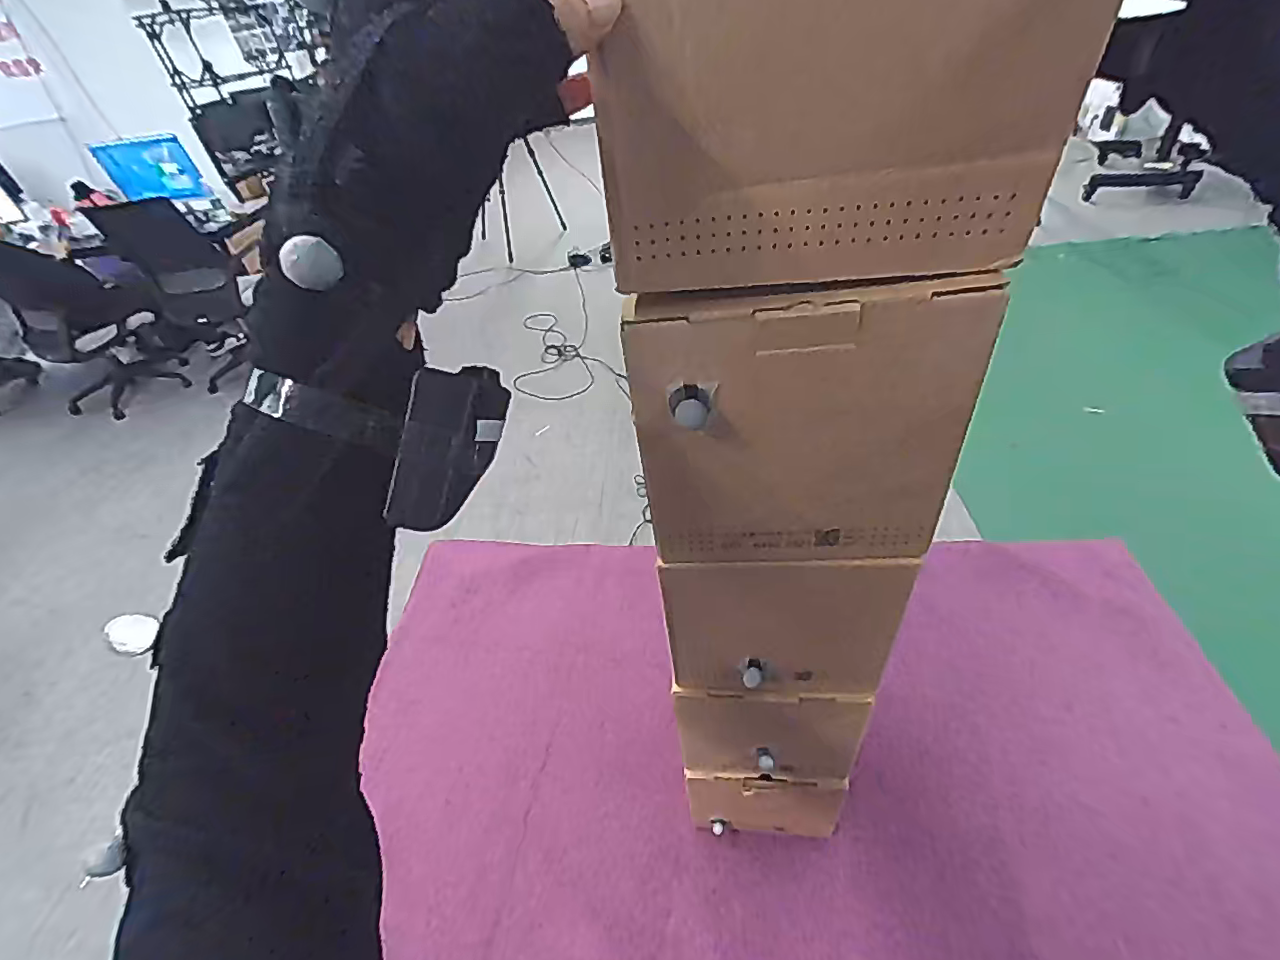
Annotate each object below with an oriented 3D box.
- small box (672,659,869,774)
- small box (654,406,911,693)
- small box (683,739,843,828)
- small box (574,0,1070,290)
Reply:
[{"bbox_3d":[0.125,0.179,0.567,0.168,0.176,0.179,-2,42,9],"label":"small box"},{"bbox_3d":[0.107,0.056,0.462,0.168,0.176,0.179,-2,42,9],"label":"small box"},{"bbox_3d":[0.145,0.306,0.669,0.168,0.176,0.179,-1,42,9],"label":"small box"},{"bbox_3d":[0.067,-0.199,0.247,0.179,0.176,0.168,-1,44,6],"label":"small box"}]
